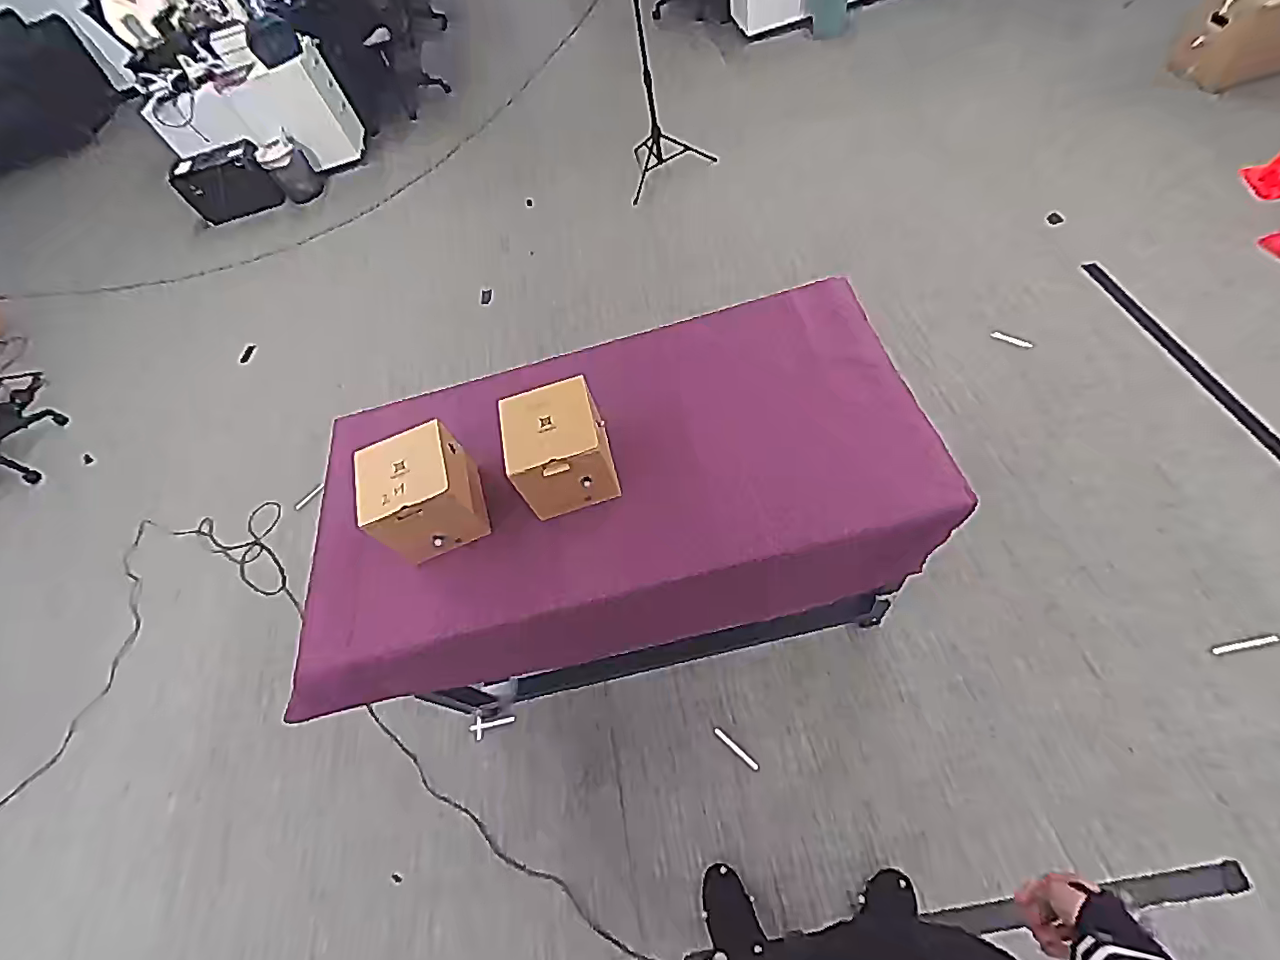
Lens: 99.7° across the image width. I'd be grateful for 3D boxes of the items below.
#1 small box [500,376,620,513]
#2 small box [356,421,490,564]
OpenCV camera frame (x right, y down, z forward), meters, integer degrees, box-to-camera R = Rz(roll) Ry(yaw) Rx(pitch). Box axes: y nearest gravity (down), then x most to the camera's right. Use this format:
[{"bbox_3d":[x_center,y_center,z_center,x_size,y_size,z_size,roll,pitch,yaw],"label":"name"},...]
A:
[{"bbox_3d":[-0.144,-0.055,1.004,0.168,0.176,0.179,-17,57,2],"label":"small box"},{"bbox_3d":[-0.402,0.028,1.011,0.168,0.176,0.179,-23,57,-1],"label":"small box"}]
